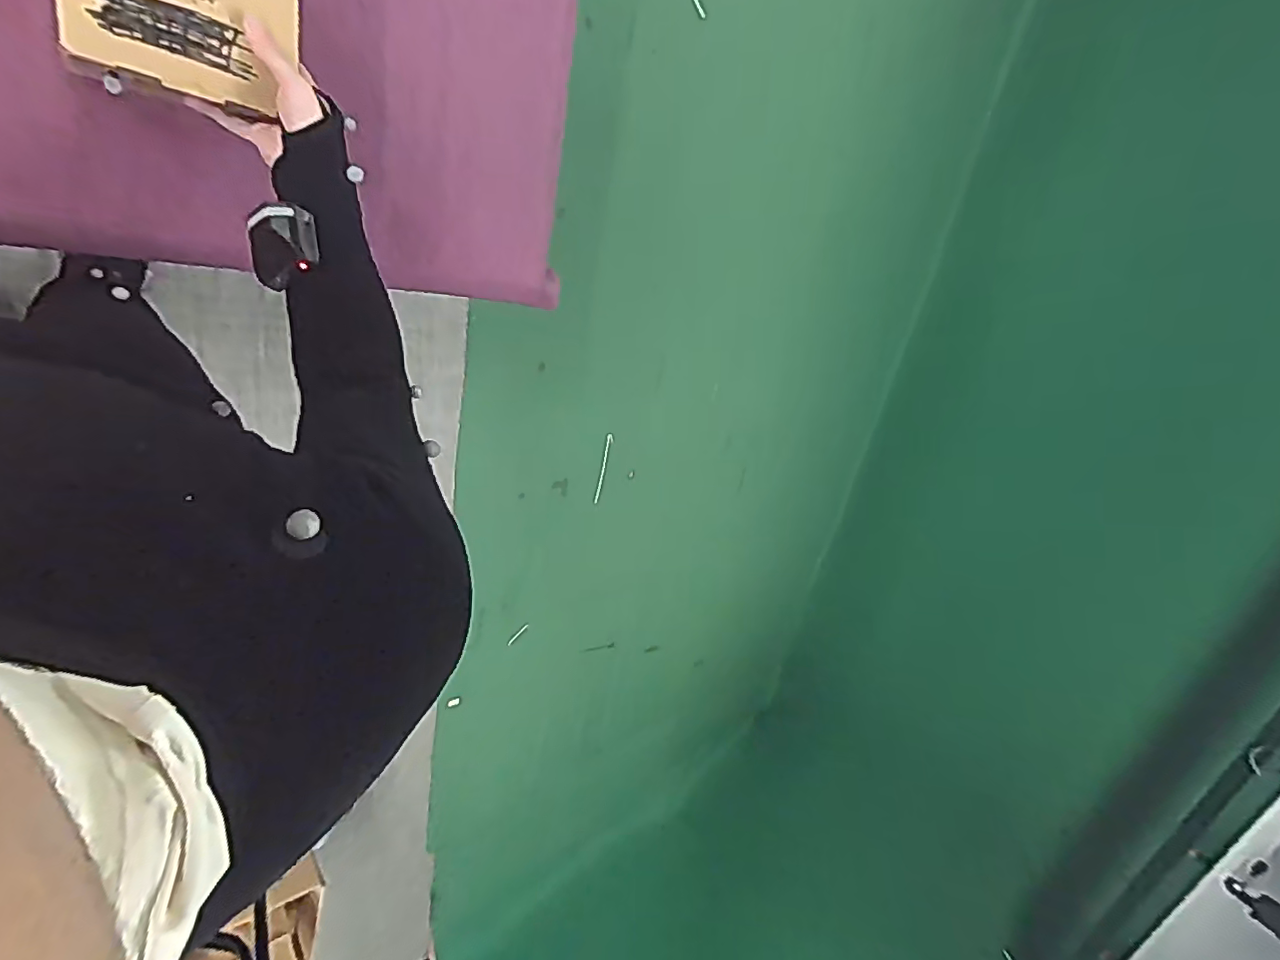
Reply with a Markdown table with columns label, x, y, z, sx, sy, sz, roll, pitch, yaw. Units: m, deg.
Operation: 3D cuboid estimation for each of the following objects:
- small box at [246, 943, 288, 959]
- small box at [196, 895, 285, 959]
| label | x | y | z | sx | sy | sz | roll | pitch | yaw |
| --- | --- | --- | --- | --- | --- | --- | --- | --- | --- |
| small box | -1.027 | 1.401 | 1.435 | 0.168 | 0.176 | 0.179 | -5 | 118 | -44 |
| small box | -1.138 | 1.346 | 1.539 | 0.179 | 0.176 | 0.168 | -4 | 117 | -45 |
